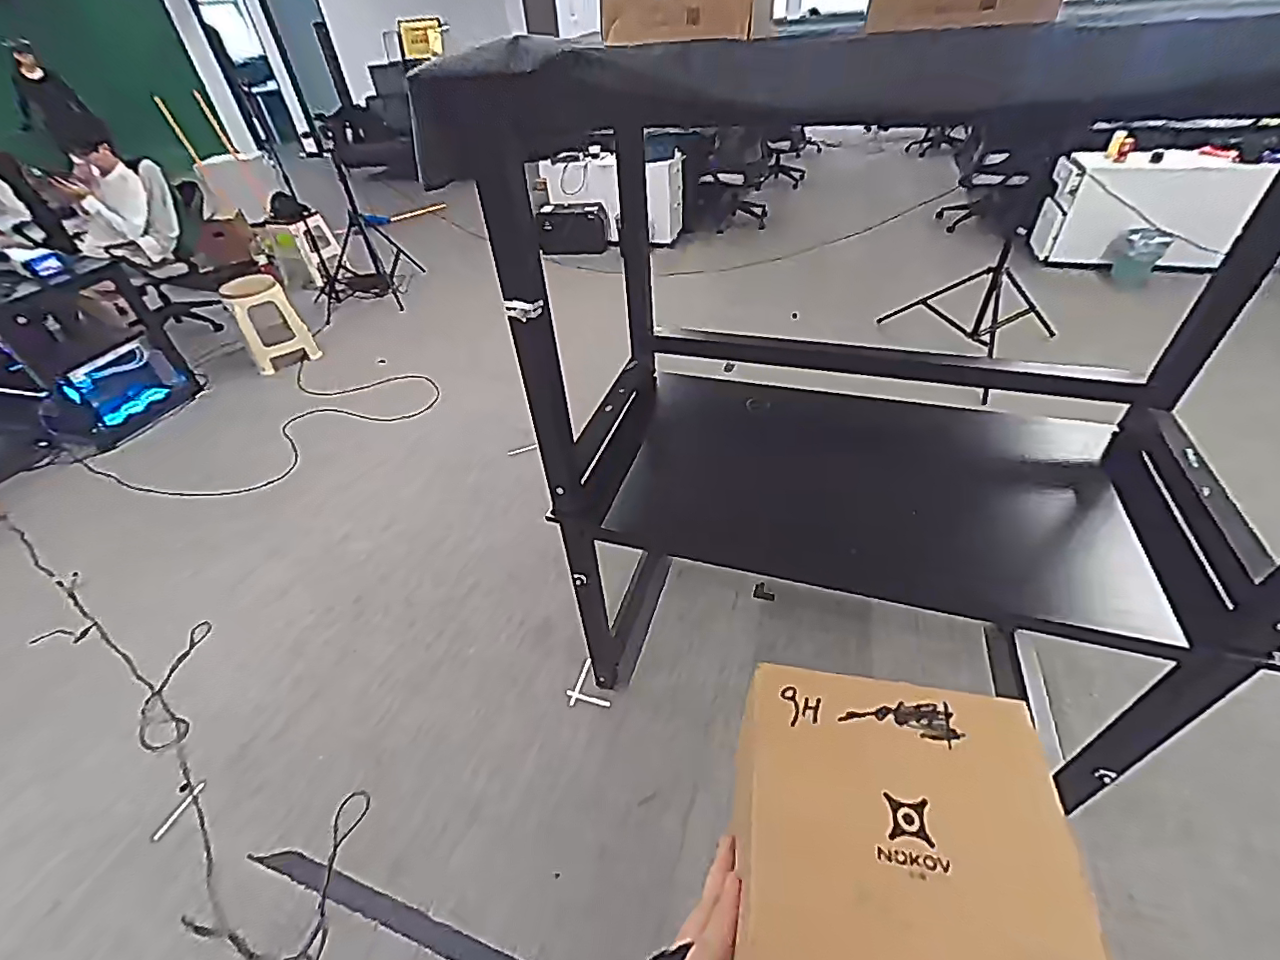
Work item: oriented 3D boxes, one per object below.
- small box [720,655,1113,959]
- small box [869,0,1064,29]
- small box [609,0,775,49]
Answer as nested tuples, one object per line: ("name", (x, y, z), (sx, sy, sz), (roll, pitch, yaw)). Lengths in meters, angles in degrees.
("small box", (0.142, 0.239, 0.337), (0.168, 0.176, 0.179), (7, 46, 8))
("small box", (0.321, -0.538, 0.511), (0.168, 0.176, 0.179), (10, 41, 16))
("small box", (0.062, -0.582, 0.588), (0.168, 0.176, 0.179), (10, 42, 15))
